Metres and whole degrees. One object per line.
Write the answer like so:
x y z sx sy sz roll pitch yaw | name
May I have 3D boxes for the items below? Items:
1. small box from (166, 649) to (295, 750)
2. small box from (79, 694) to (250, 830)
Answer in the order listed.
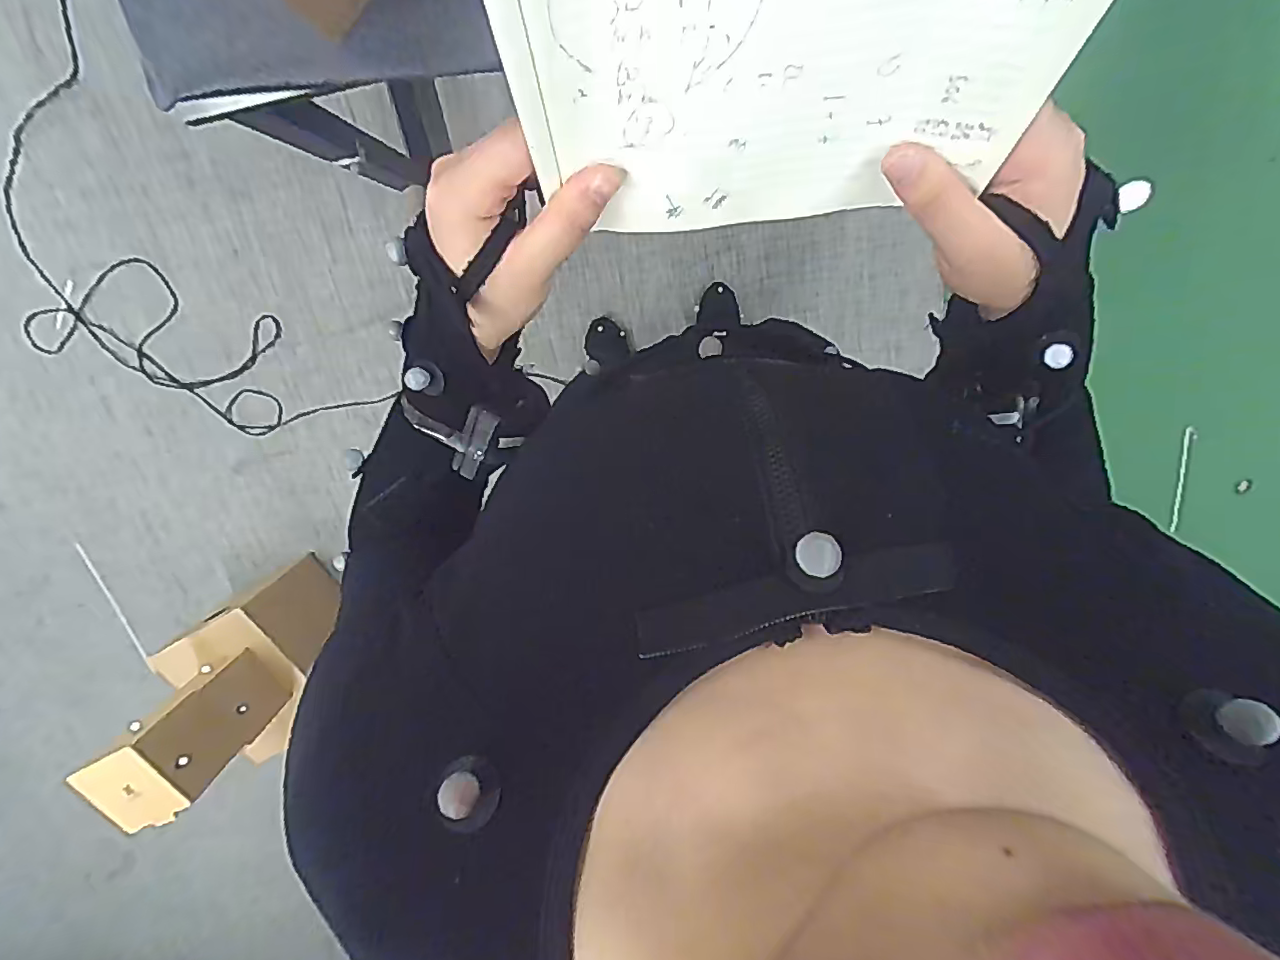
-0.995 0.550 1.315 0.168 0.176 0.179 -28 106 8 | small box
-1.001 0.590 1.157 0.168 0.176 0.179 -27 107 8 | small box
